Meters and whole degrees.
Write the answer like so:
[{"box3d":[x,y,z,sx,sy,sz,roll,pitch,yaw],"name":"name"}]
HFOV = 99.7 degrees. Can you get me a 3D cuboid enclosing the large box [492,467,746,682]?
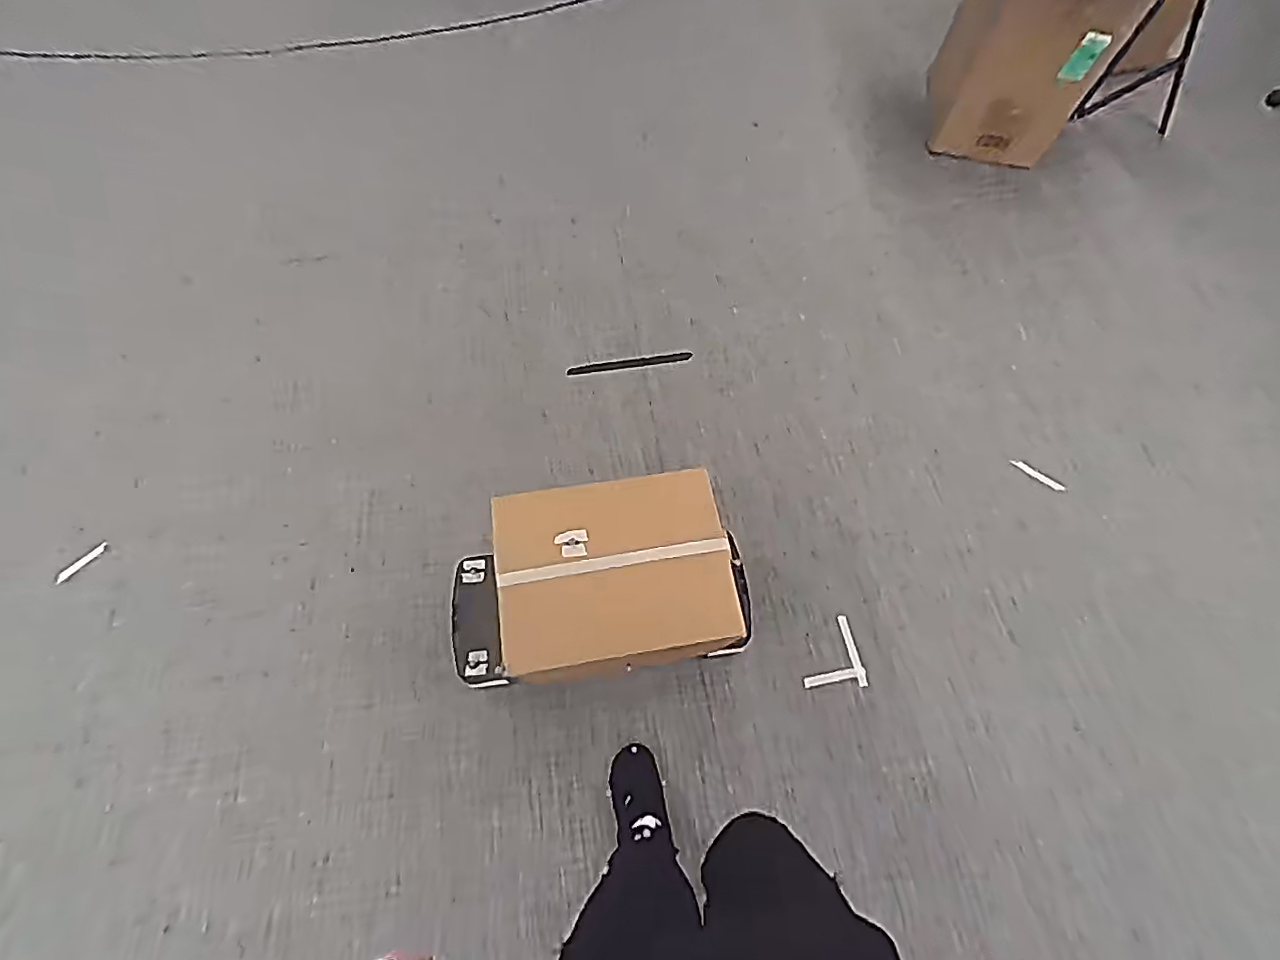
[{"box3d":[-0.045,0.202,1.069,0.408,0.320,0.320,-9,67,-4],"name":"large box"}]
